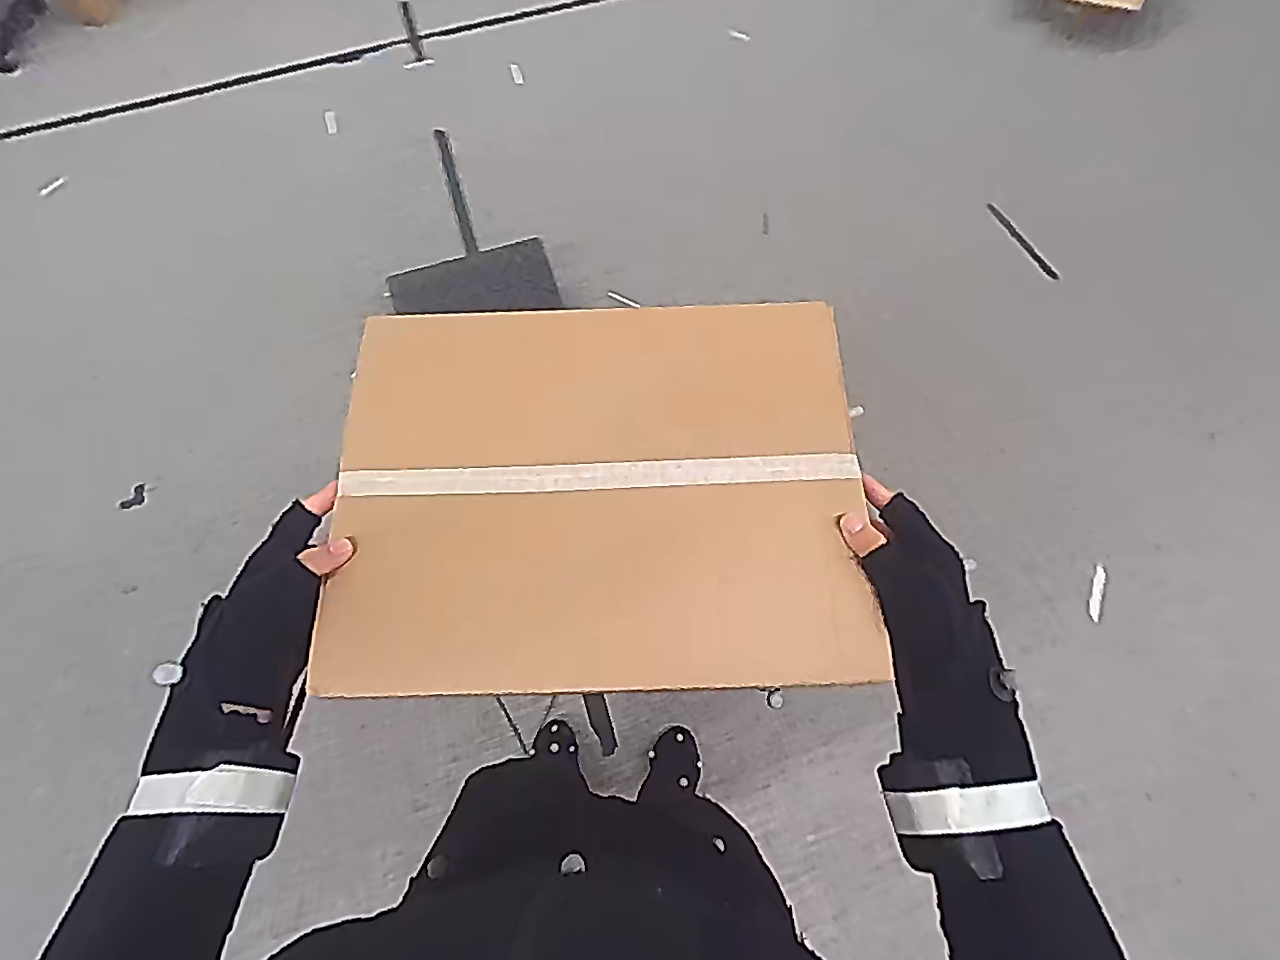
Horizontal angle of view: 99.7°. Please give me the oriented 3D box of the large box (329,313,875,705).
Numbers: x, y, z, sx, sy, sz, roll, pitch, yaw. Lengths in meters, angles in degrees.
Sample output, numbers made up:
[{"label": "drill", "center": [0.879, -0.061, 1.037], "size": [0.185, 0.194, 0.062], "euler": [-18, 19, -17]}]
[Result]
[{"label": "large box", "center": [-0.030, 0.053, 0.576], "size": [0.408, 0.320, 0.320], "euler": [-3, 70, 1]}]
